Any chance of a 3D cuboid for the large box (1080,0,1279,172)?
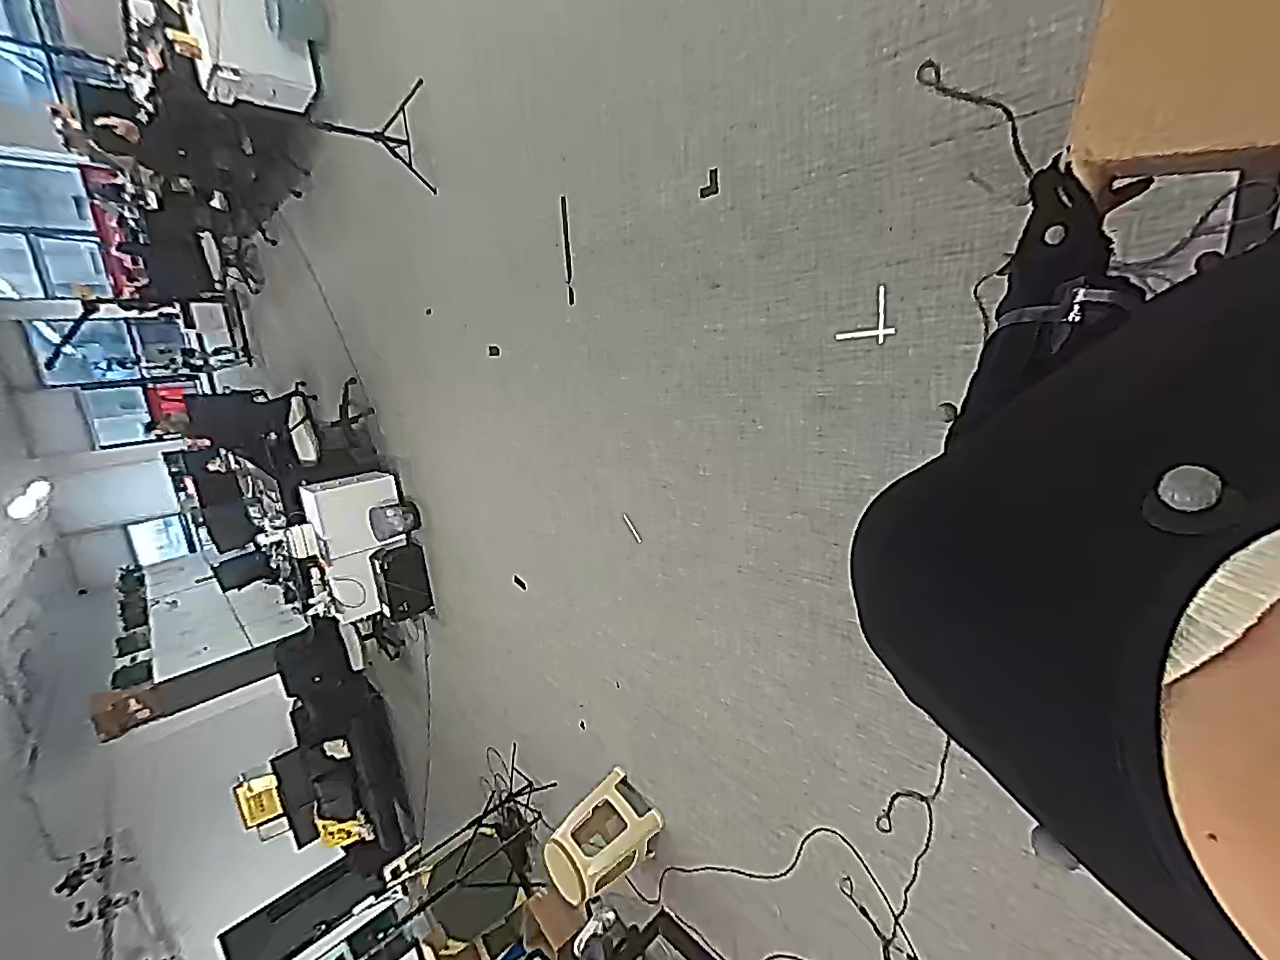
[{"bbox_3d":[0.437,-0.304,0.172,0.408,0.320,0.320,17,122,37],"label":"large box"}]
